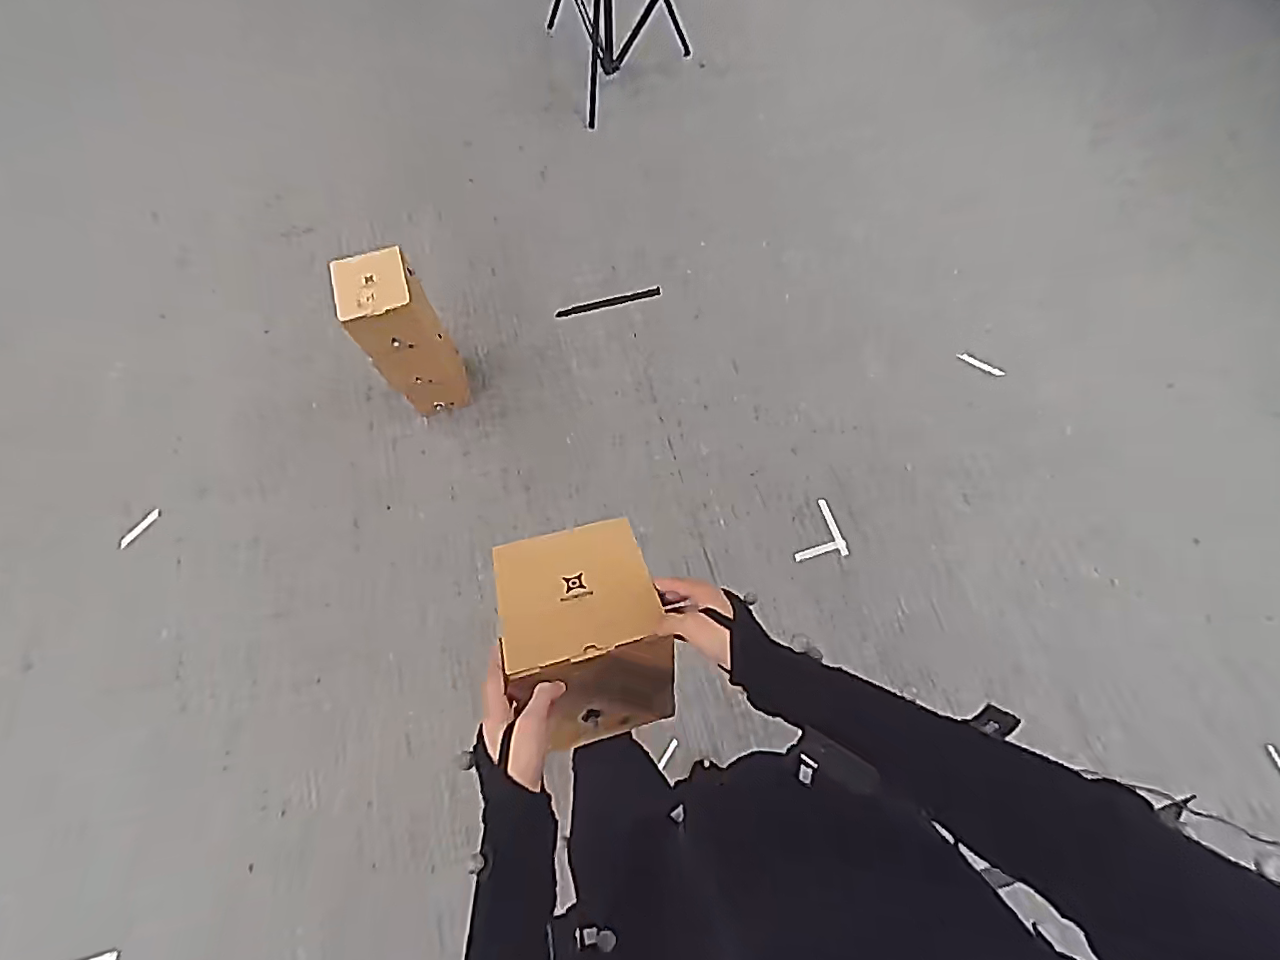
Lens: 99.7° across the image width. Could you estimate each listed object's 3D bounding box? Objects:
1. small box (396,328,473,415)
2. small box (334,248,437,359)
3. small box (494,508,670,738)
[{"bbox_3d":[-0.622,-0.324,1.639,0.168,0.176,0.179,-17,71,-6],"label":"small box"},{"bbox_3d":[-0.620,-0.429,1.328,0.168,0.176,0.179,-17,72,-6],"label":"small box"},{"bbox_3d":[-0.068,0.163,0.634,0.168,0.176,0.179,-12,41,-11],"label":"small box"}]
